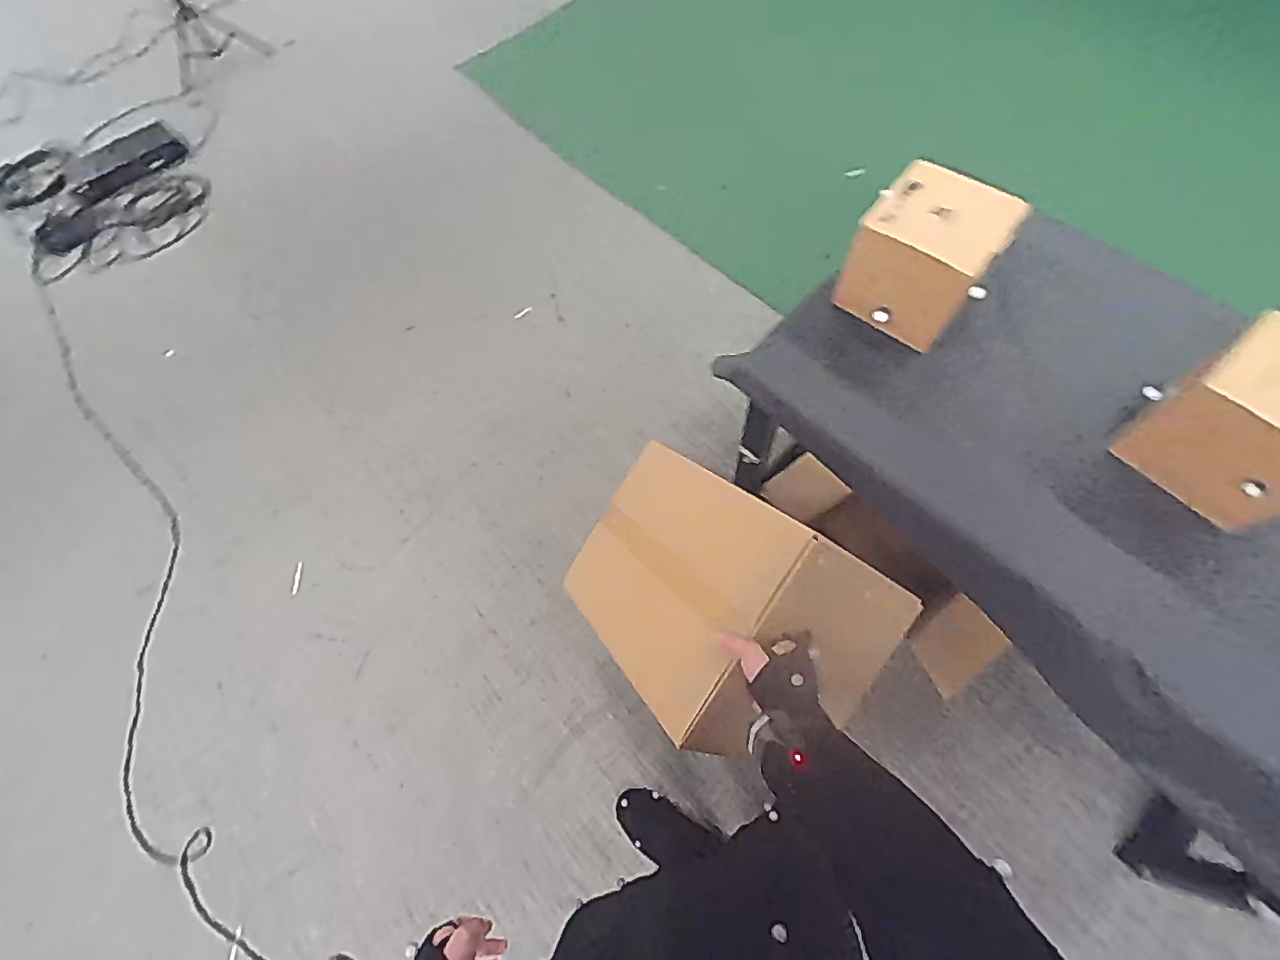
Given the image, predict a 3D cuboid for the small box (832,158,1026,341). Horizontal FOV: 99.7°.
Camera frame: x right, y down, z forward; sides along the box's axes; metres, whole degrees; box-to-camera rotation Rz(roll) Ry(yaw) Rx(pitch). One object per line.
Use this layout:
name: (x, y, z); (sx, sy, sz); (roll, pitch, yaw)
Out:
small box: (0.434, -0.346, 0.841); (0.179, 0.176, 0.168); (38, 74, 17)

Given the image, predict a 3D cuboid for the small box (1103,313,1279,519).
small box: (0.776, -0.070, 0.699); (0.168, 0.176, 0.179); (-39, 68, -13)
